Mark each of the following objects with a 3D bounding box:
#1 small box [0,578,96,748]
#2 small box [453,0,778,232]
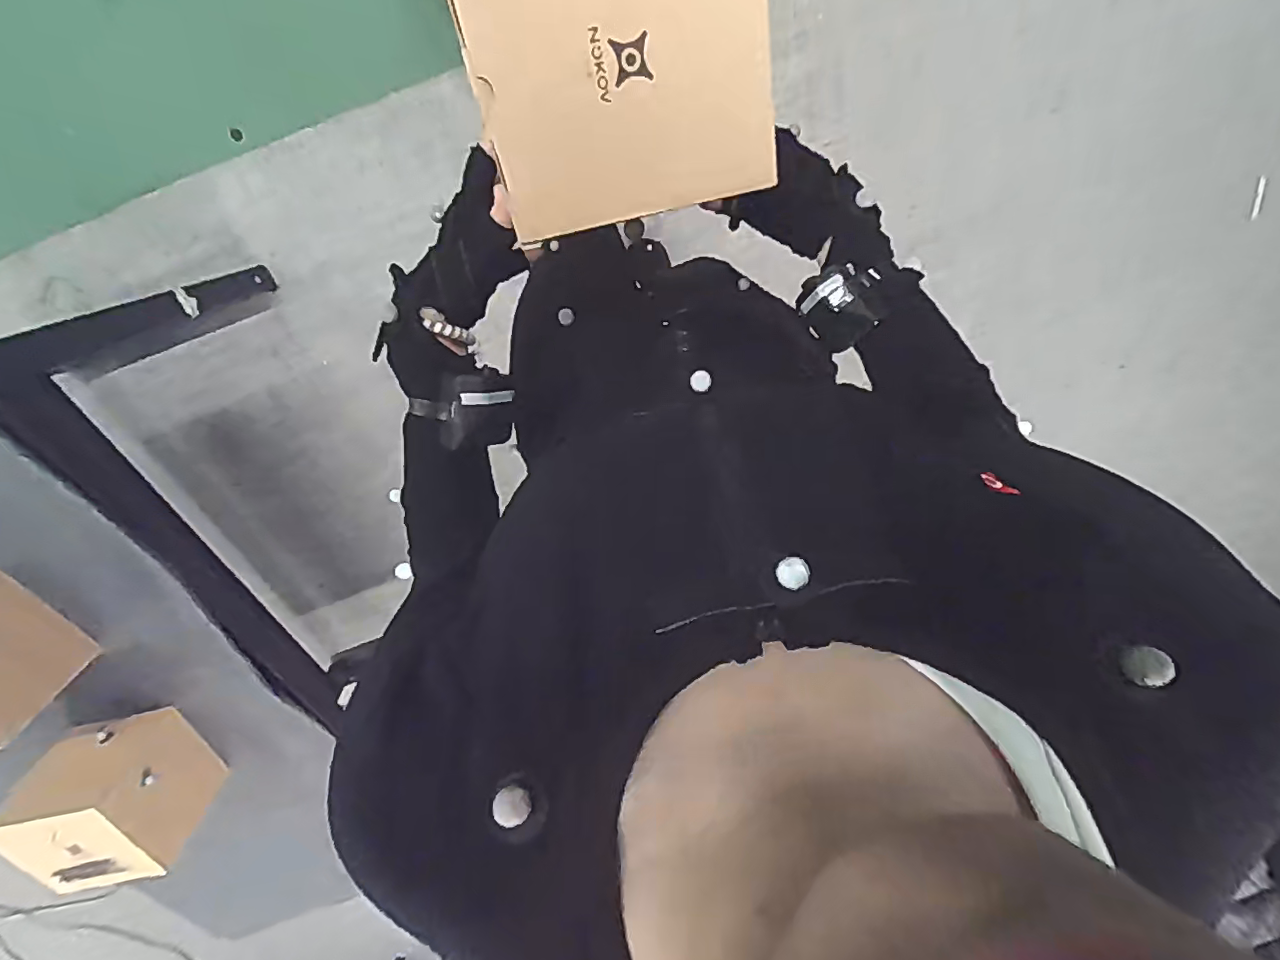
[{"bbox_3d":[-0.882,0.244,0.684,0.168,0.176,0.179,-21,119,5],"label":"small box"},{"bbox_3d":[-0.020,-0.287,0.377,0.179,0.176,0.168,-13,121,0],"label":"small box"}]
